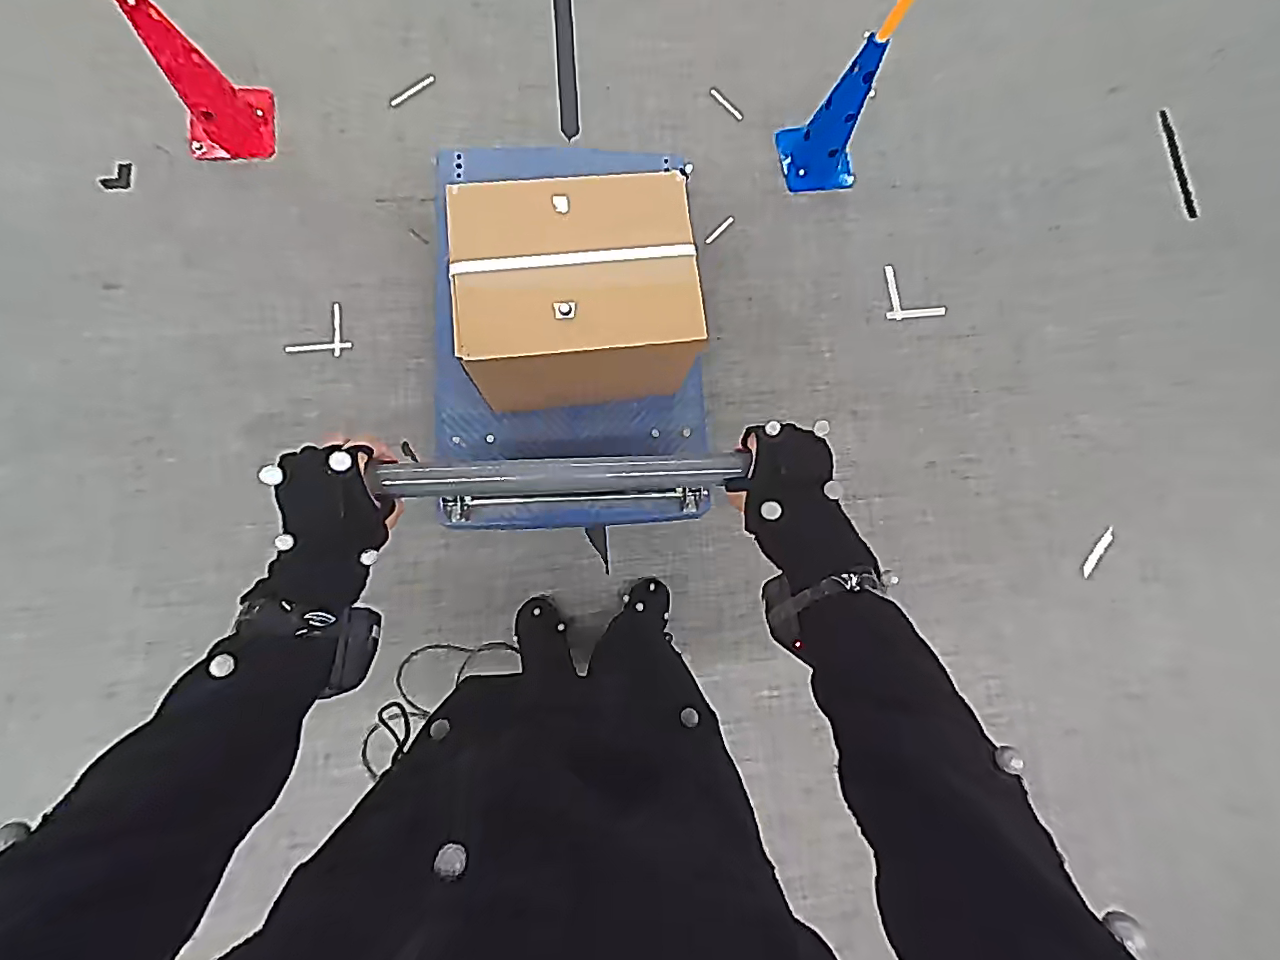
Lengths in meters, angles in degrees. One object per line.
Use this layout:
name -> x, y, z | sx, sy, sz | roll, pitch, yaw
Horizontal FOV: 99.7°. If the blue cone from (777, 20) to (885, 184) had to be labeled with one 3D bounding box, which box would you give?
blue cone -> 0.507, -0.950, 1.364 | 0.193, 0.380, 0.192 | -8, 81, -7
